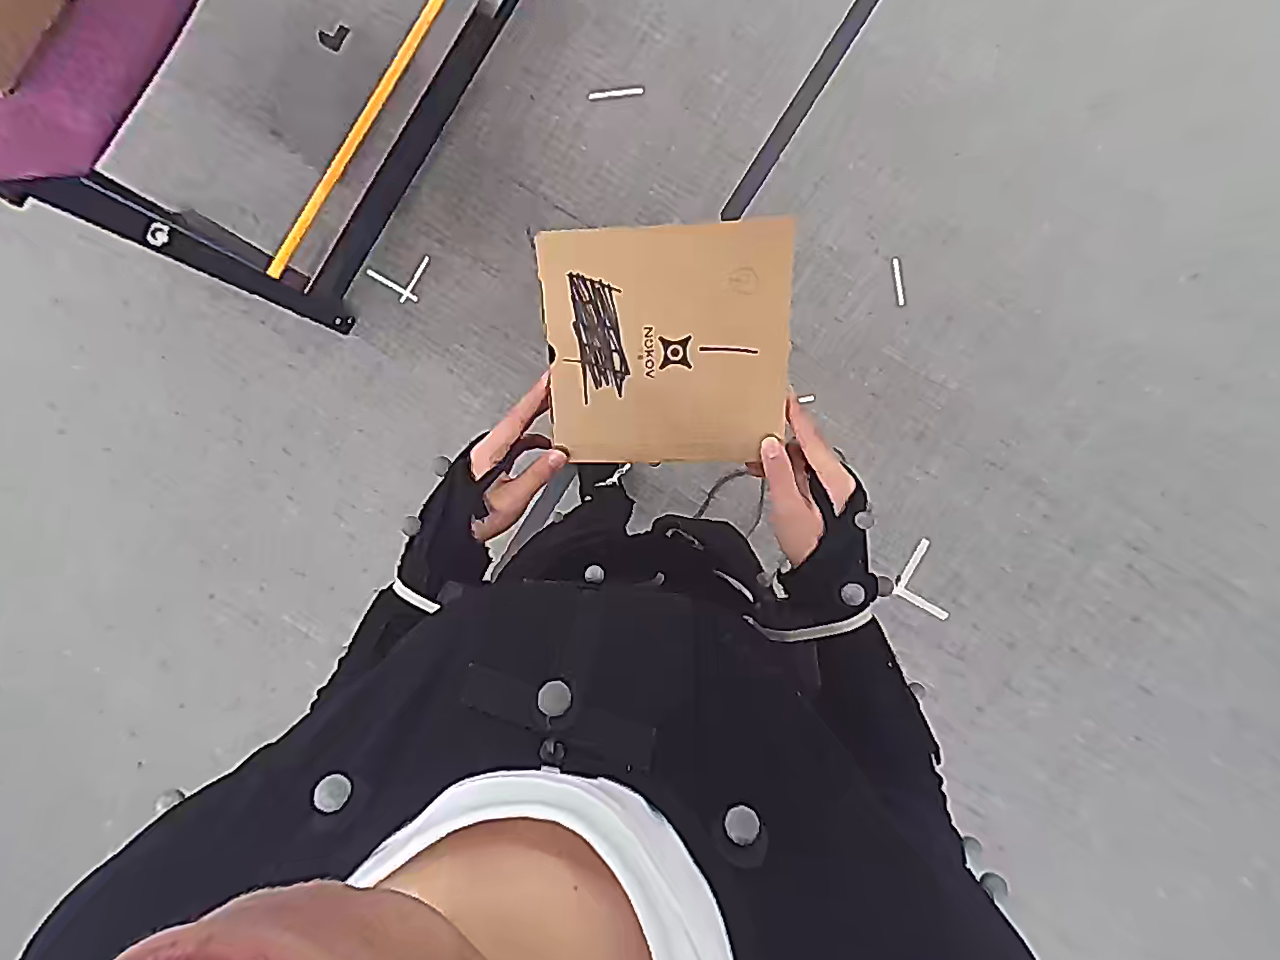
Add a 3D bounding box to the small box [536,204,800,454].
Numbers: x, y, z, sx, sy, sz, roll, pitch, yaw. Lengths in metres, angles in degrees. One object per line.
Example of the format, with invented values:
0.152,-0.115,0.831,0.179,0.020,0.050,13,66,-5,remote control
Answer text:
0.027,-0.121,0.450,0.179,0.176,0.168,0,107,7,small box
